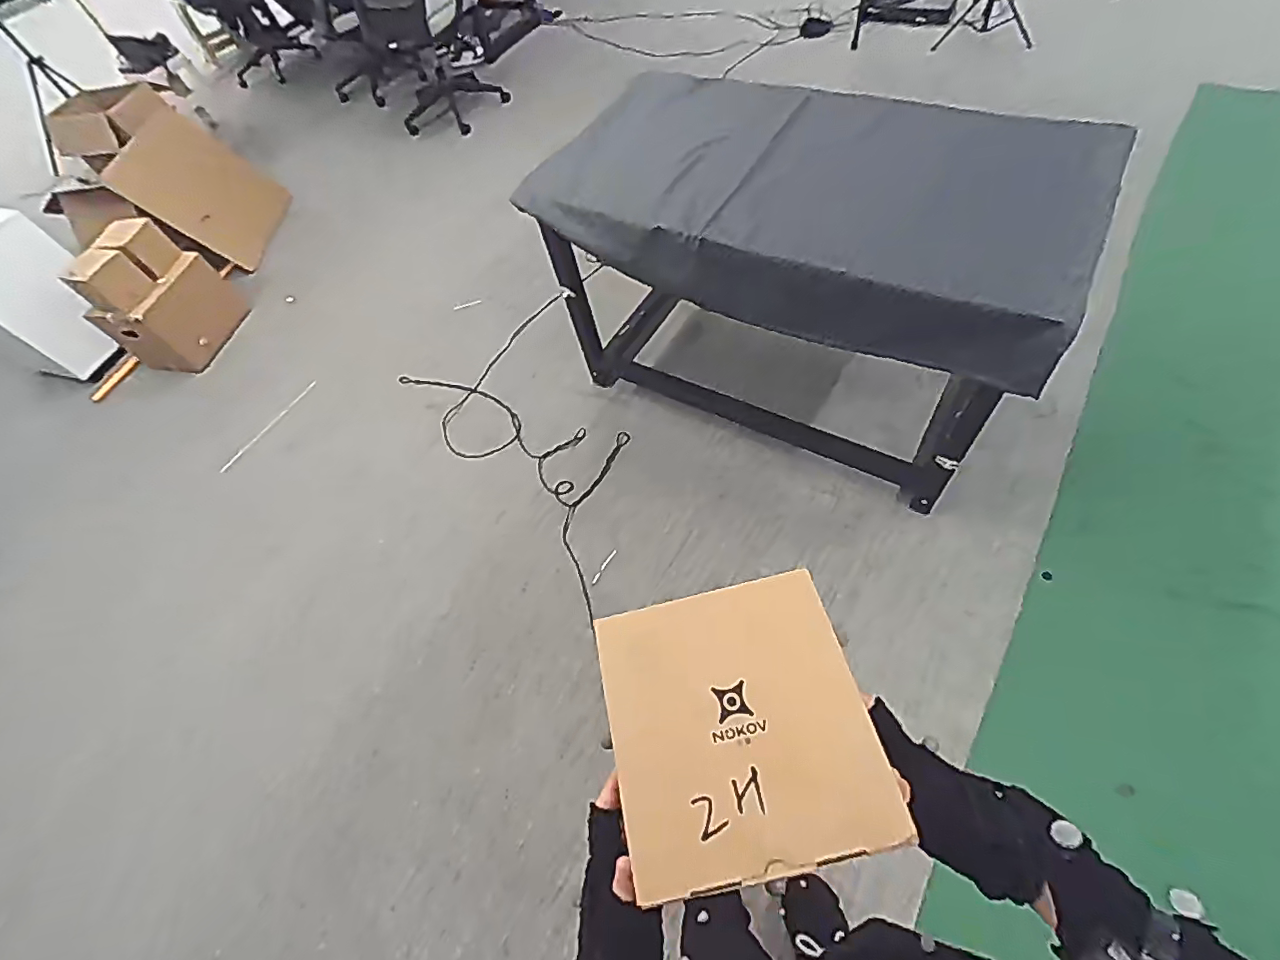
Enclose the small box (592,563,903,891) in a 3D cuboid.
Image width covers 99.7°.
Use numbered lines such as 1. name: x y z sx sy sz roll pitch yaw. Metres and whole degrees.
1. small box: 0.068 0.192 0.419 0.168 0.176 0.179 -14 56 2
